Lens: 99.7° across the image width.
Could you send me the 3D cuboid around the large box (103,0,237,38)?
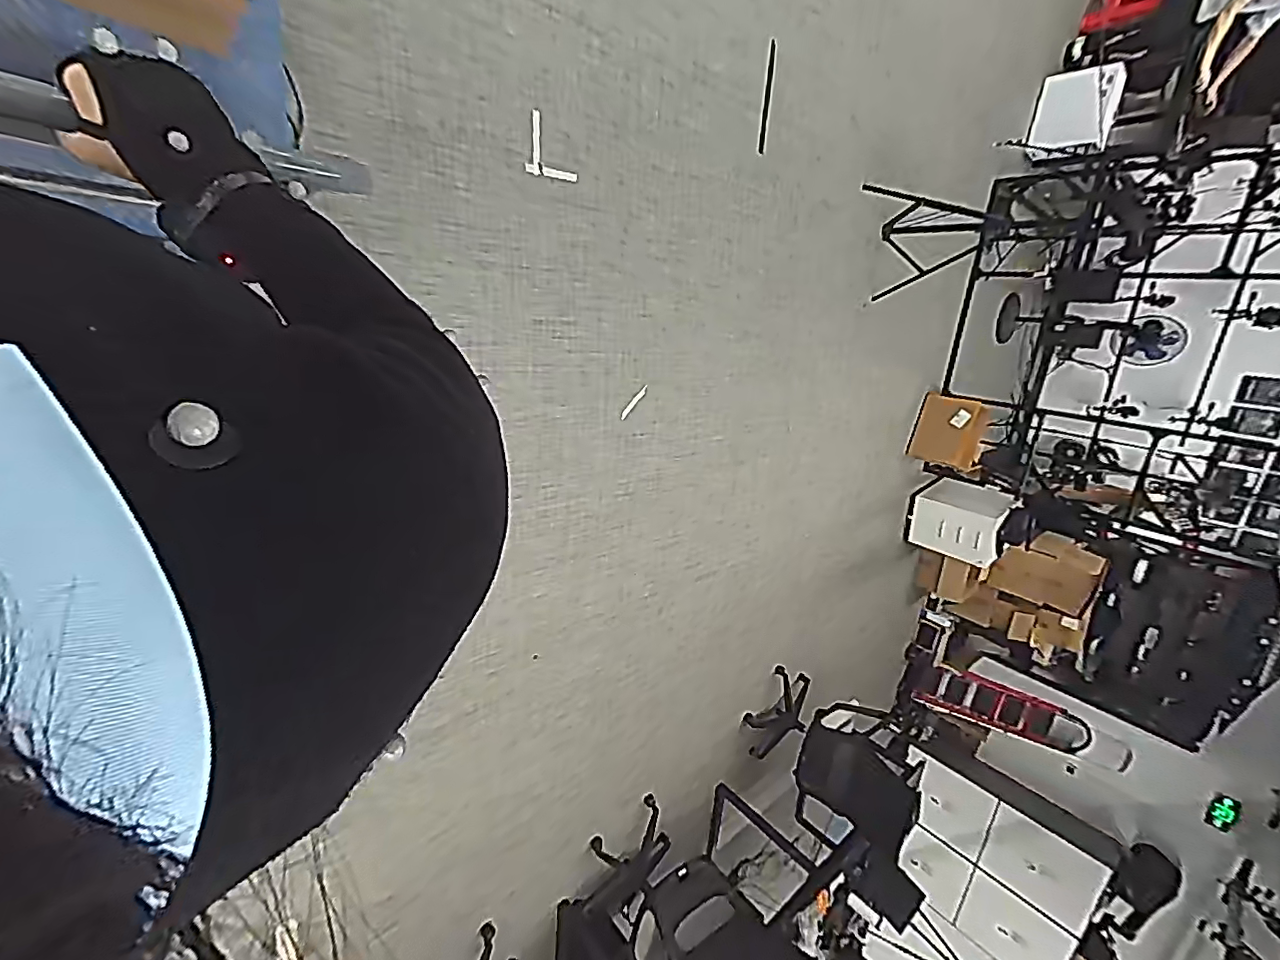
[{"bbox_3d":[-0.745,-0.826,0.645,0.408,0.320,0.320,-6,110,-41],"label":"large box"}]
